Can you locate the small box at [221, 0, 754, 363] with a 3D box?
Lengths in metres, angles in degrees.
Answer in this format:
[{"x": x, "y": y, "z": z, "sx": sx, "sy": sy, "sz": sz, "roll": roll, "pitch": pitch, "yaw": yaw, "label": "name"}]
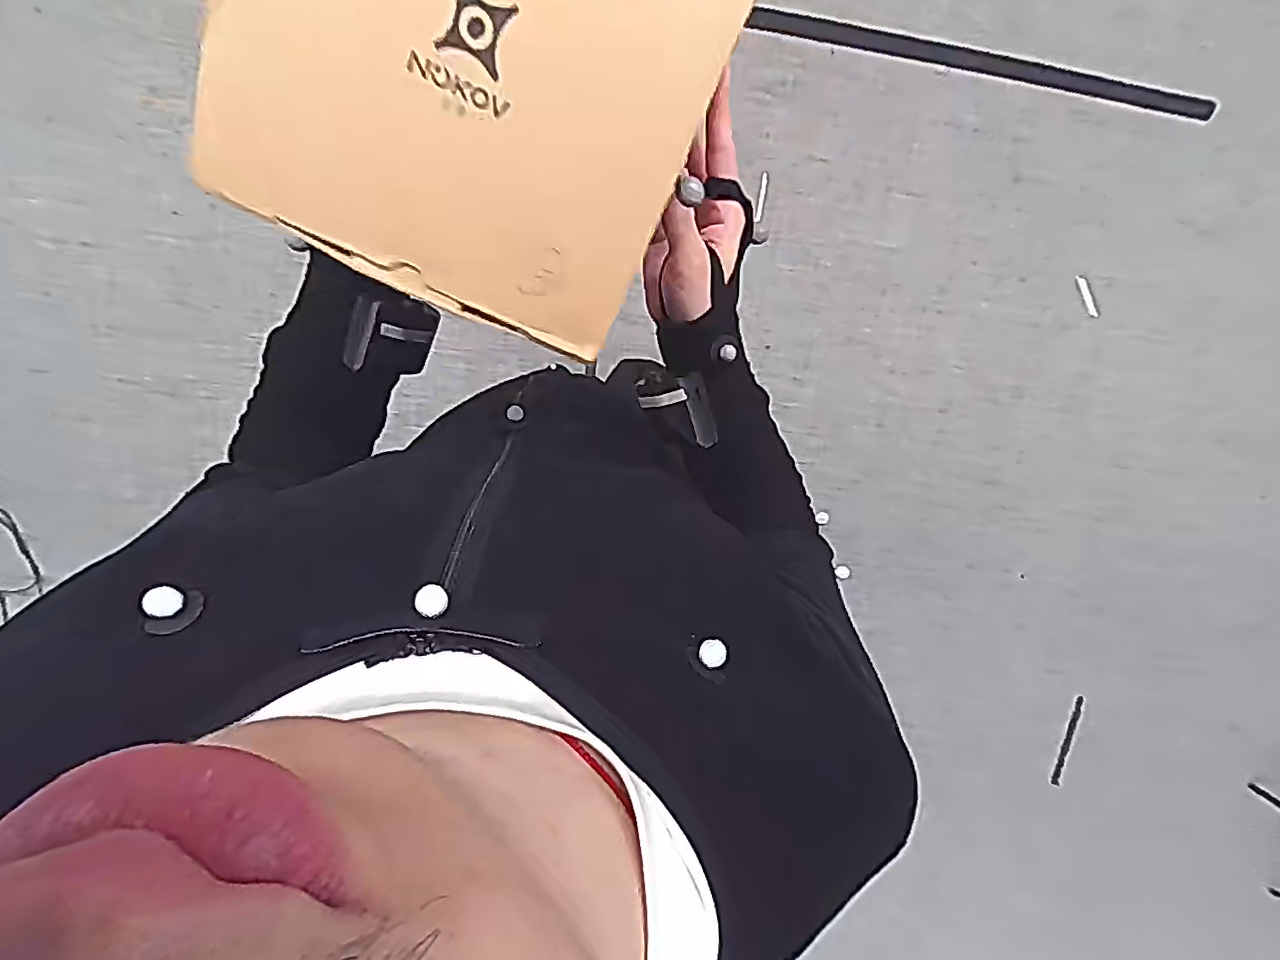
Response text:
[{"x": -0.061, "y": -0.186, "z": 0.273, "sx": 0.168, "sy": 0.176, "sz": 0.179, "roll": 21, "pitch": 111, "yaw": -12, "label": "small box"}]
